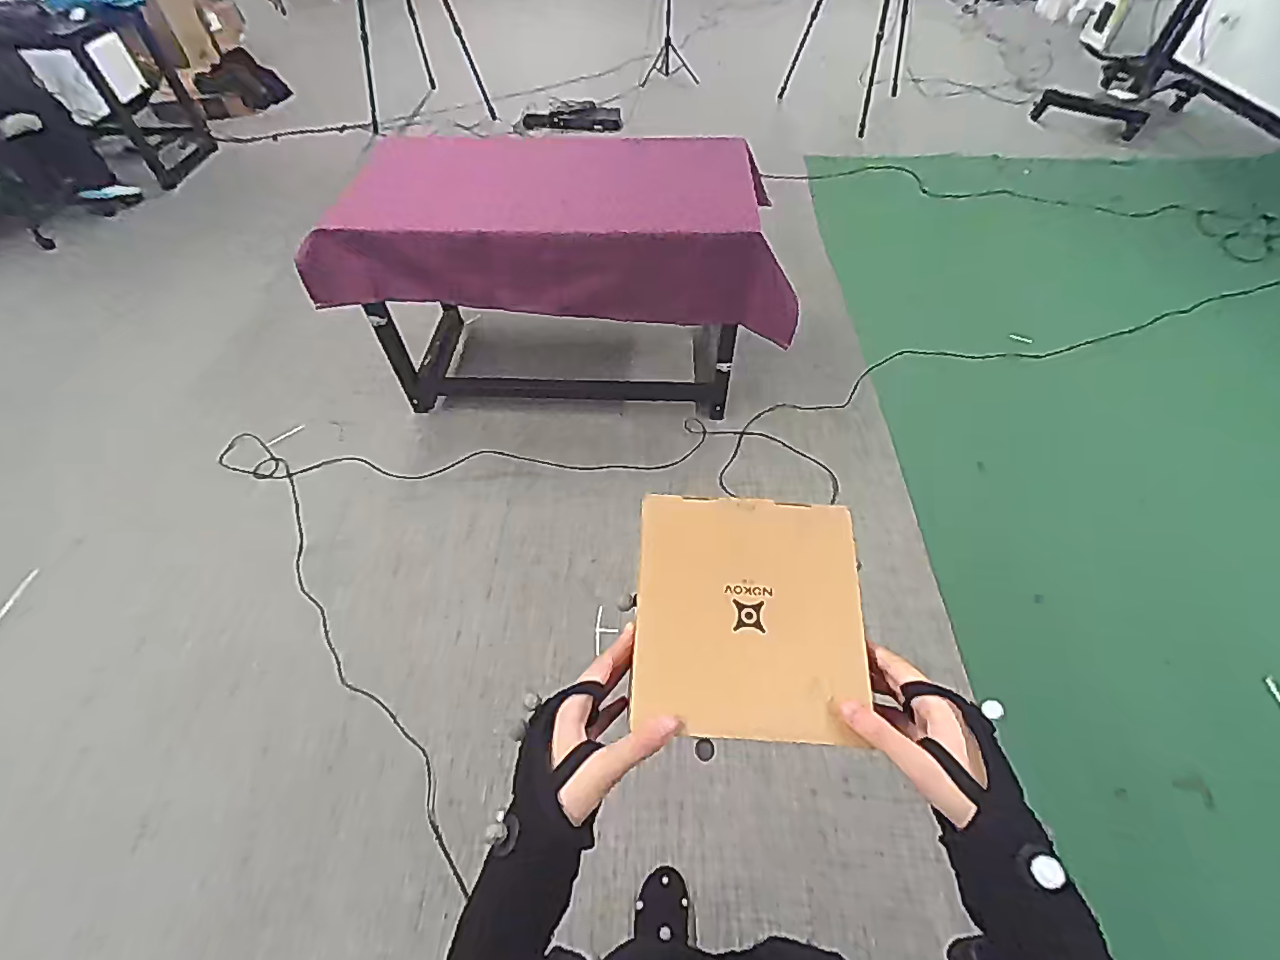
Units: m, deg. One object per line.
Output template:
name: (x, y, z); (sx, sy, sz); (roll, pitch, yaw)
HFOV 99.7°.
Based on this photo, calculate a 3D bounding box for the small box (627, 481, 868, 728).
small box: (0.078, 0.117, 0.472); (0.168, 0.176, 0.179); (3, 64, 0)
